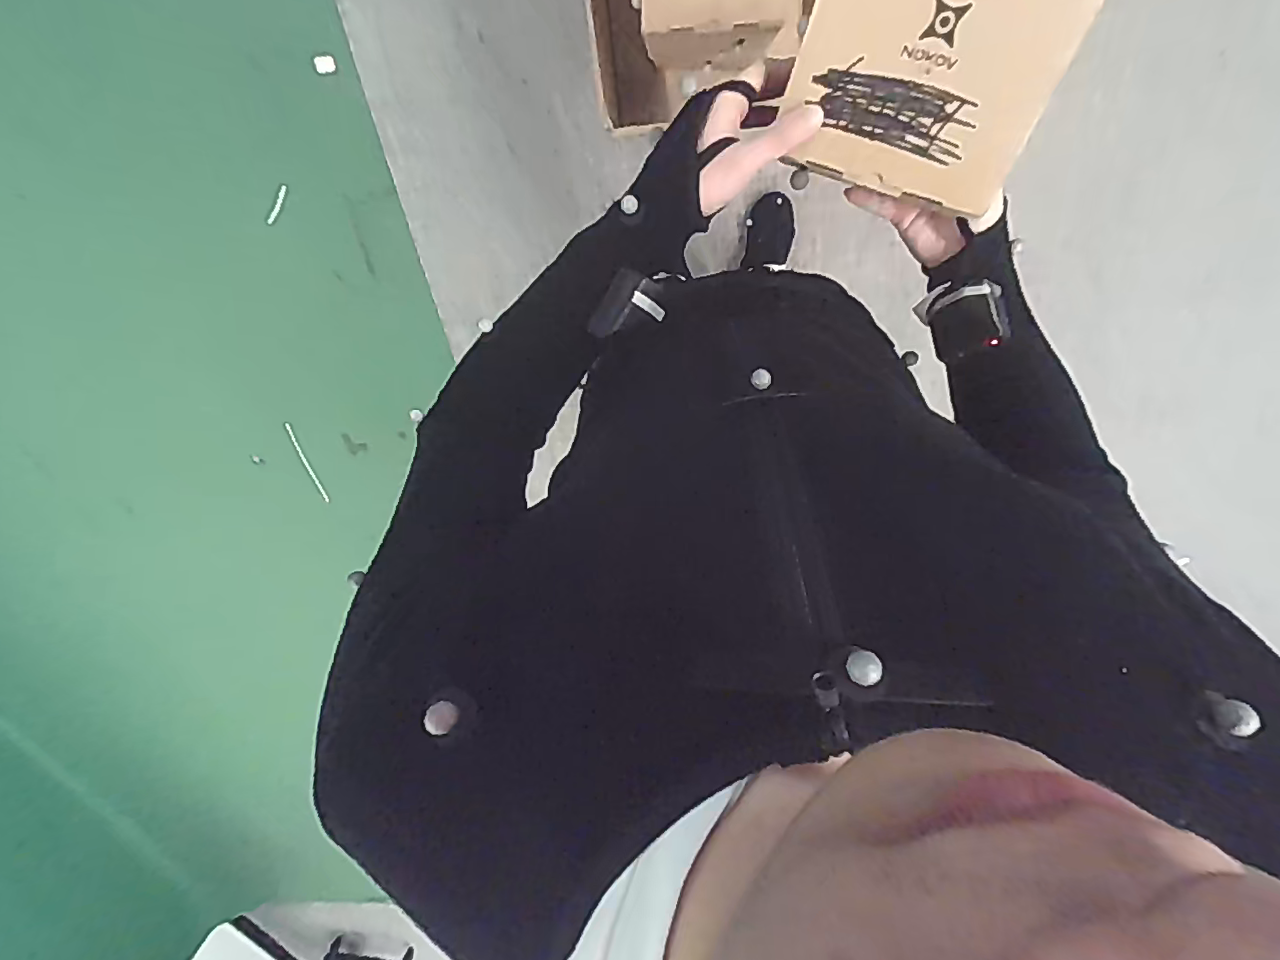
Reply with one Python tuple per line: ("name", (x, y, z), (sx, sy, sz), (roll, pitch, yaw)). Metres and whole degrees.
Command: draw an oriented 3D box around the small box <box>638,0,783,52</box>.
("small box", (0.084, -0.629, 0.641), (0.168, 0.176, 0.179), (1, 119, 4))
